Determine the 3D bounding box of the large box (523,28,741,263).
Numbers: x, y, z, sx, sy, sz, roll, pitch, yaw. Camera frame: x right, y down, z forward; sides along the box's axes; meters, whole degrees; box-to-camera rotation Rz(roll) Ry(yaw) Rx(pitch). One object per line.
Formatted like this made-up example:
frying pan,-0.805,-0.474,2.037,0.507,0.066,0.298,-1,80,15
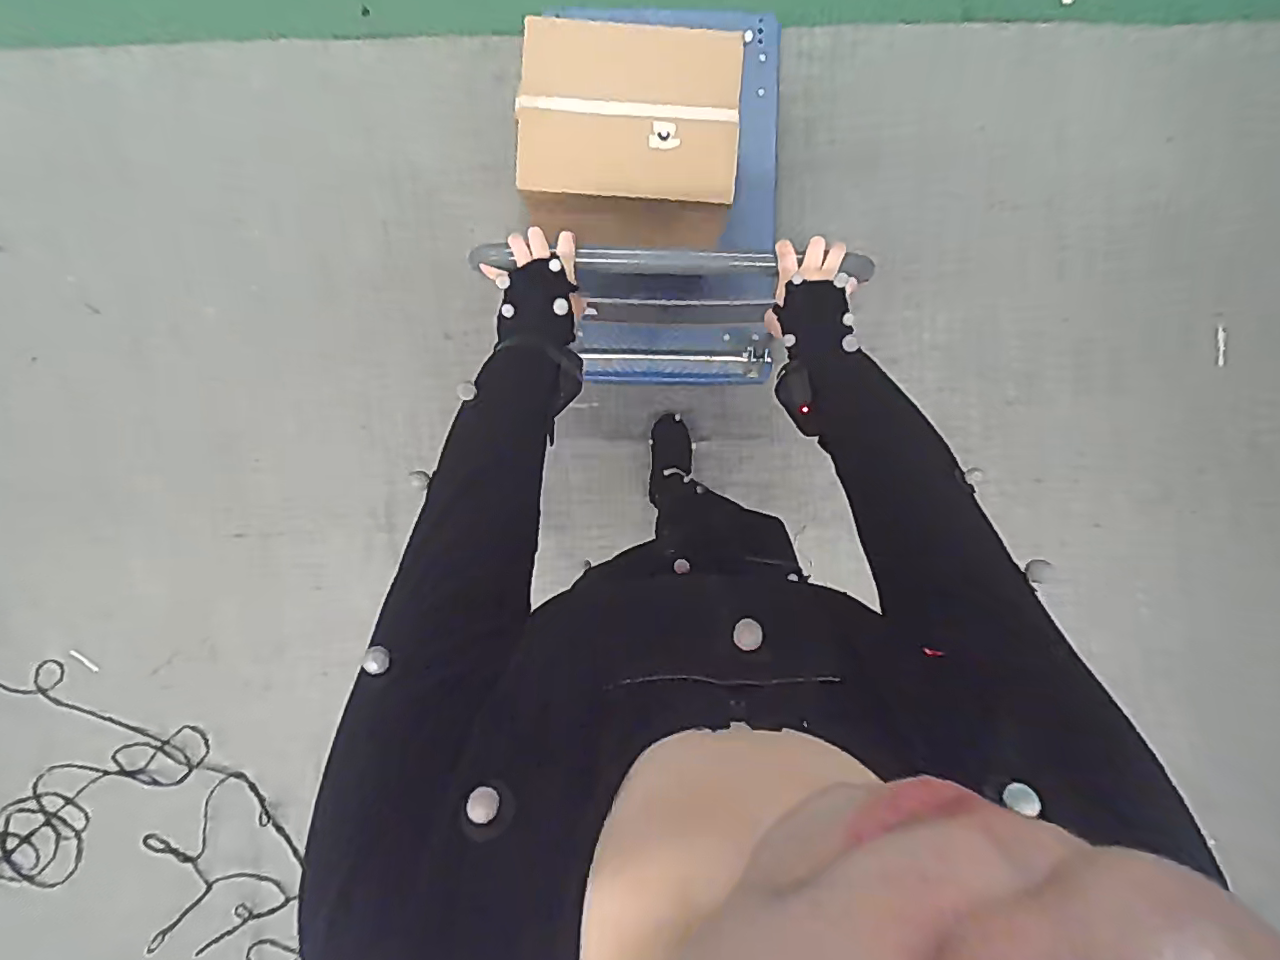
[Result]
large box,-0.020,-0.684,1.160,0.408,0.320,0.320,3,91,-1
